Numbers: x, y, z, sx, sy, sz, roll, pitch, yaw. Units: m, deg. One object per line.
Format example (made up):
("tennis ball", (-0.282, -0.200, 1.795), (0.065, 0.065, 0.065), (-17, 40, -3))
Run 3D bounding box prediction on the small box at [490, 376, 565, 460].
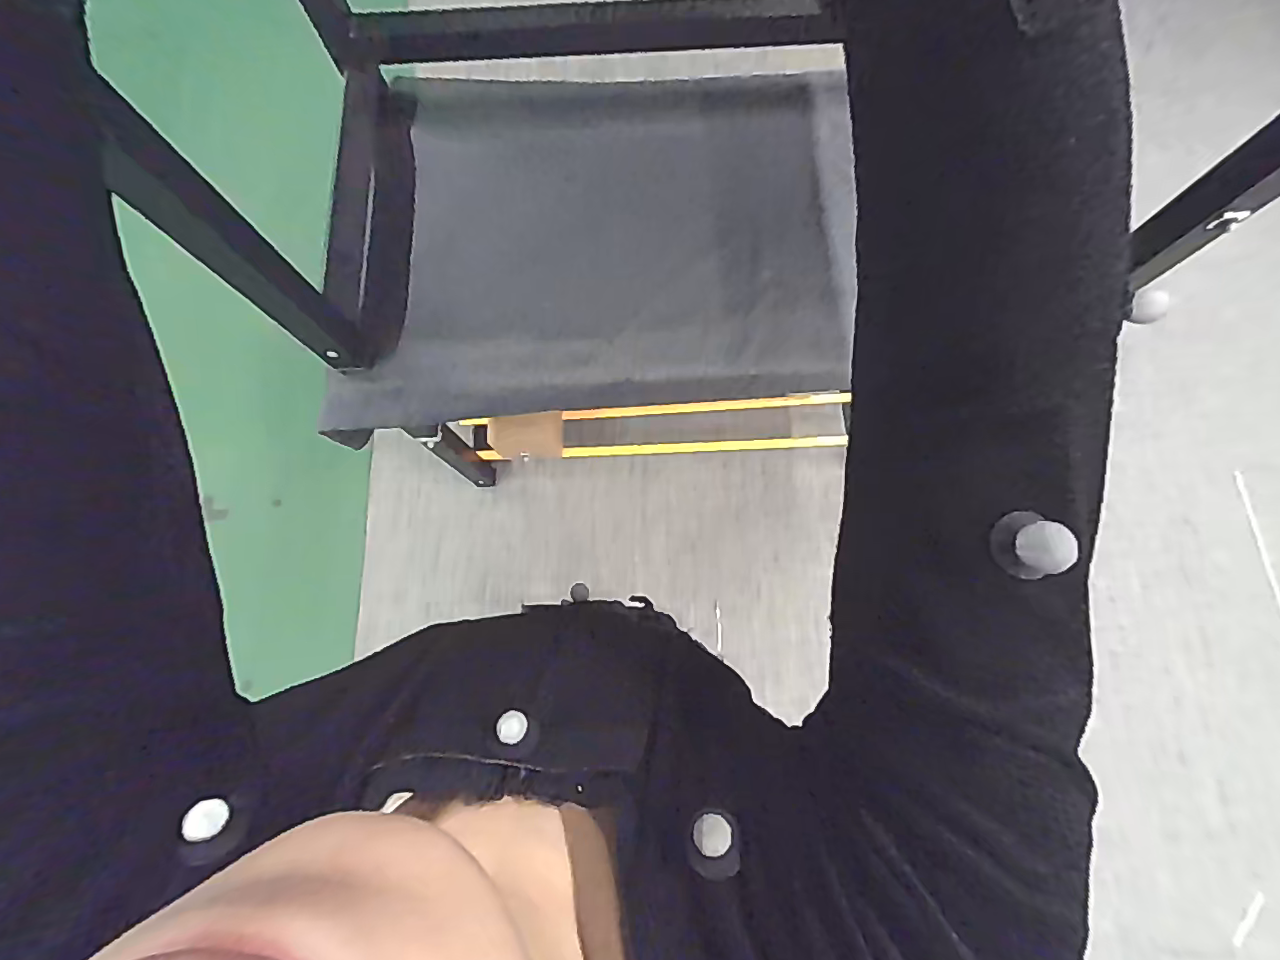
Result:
("small box", (-0.294, -0.161, 1.435), (0.168, 0.176, 0.179), (-3, 77, 0))
